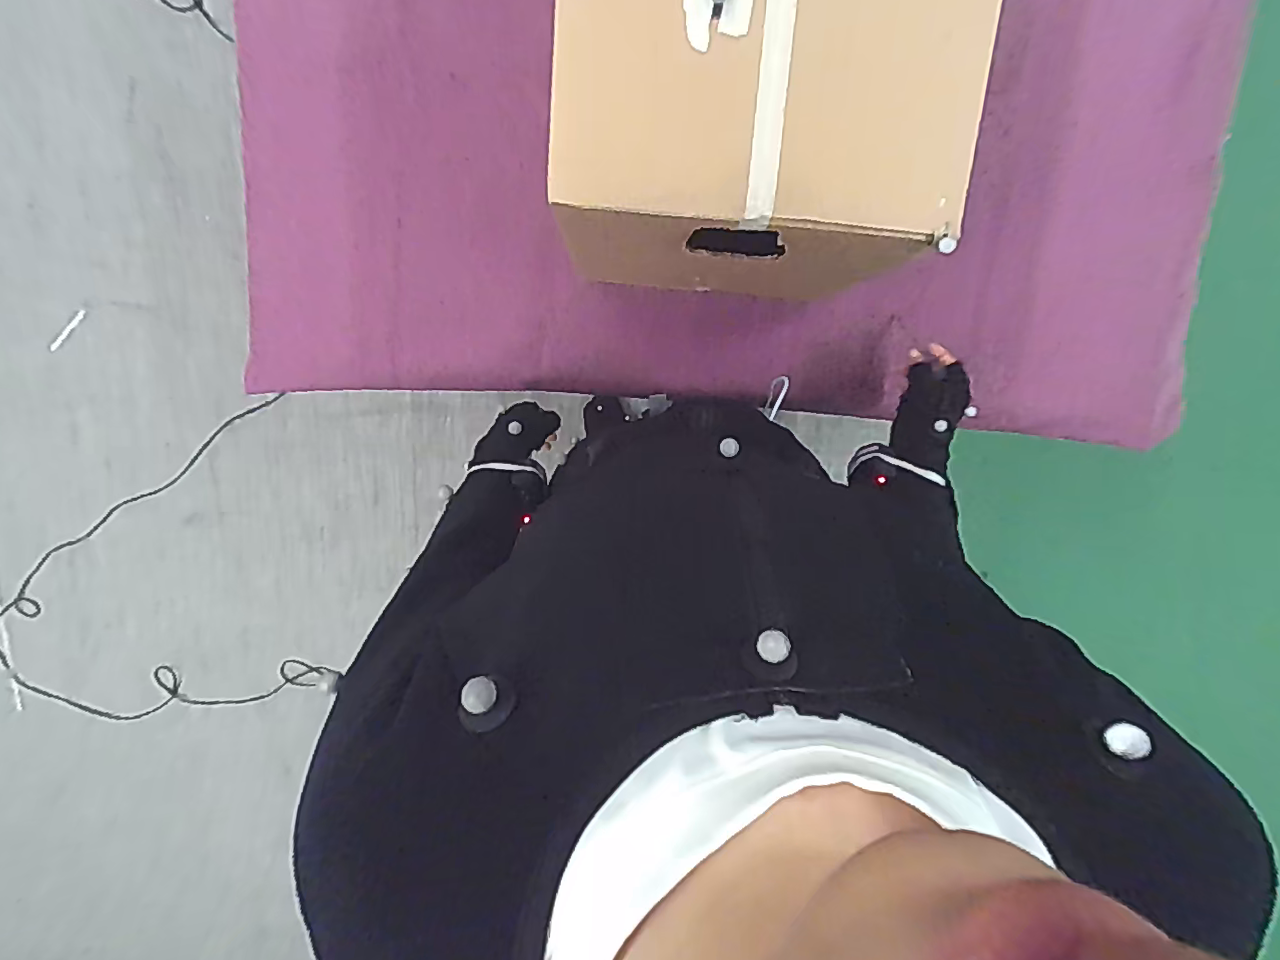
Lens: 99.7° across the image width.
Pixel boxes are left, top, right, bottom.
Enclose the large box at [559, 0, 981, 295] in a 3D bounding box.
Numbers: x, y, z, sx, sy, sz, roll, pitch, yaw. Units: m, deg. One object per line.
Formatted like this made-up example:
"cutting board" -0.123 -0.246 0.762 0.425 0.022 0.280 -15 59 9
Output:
"large box" 0.098 -0.423 0.533 0.320 0.320 0.408 5 101 -2
